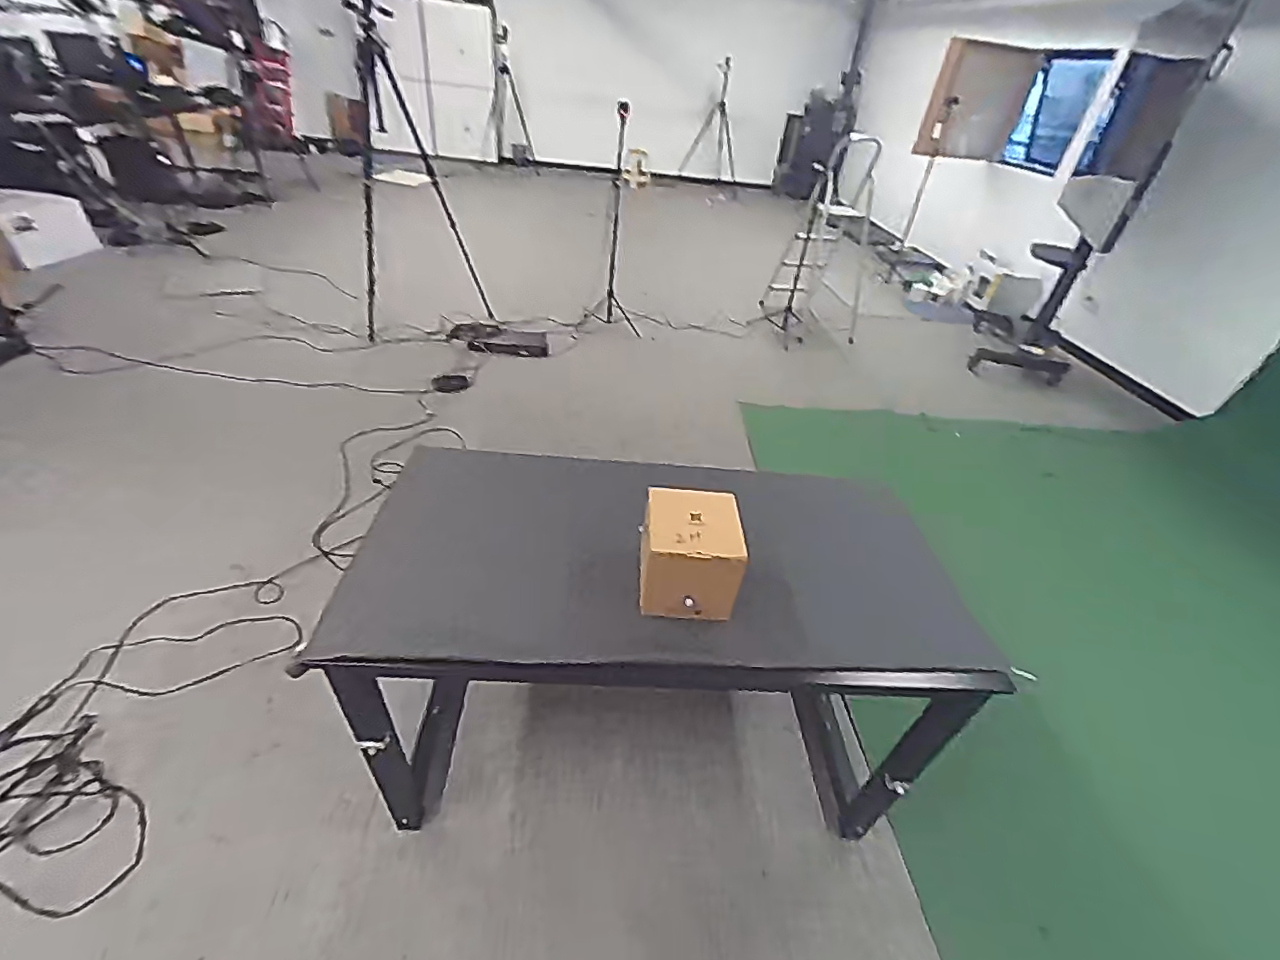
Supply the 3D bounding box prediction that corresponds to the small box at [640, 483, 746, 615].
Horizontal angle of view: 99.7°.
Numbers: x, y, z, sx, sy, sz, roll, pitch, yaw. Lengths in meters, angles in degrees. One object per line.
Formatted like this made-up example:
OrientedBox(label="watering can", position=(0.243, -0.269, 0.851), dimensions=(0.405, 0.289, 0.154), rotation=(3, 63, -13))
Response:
OrientedBox(label="small box", position=(0.089, 0.128, 1.015), dimensions=(0.168, 0.176, 0.179), rotation=(4, 38, -3))
